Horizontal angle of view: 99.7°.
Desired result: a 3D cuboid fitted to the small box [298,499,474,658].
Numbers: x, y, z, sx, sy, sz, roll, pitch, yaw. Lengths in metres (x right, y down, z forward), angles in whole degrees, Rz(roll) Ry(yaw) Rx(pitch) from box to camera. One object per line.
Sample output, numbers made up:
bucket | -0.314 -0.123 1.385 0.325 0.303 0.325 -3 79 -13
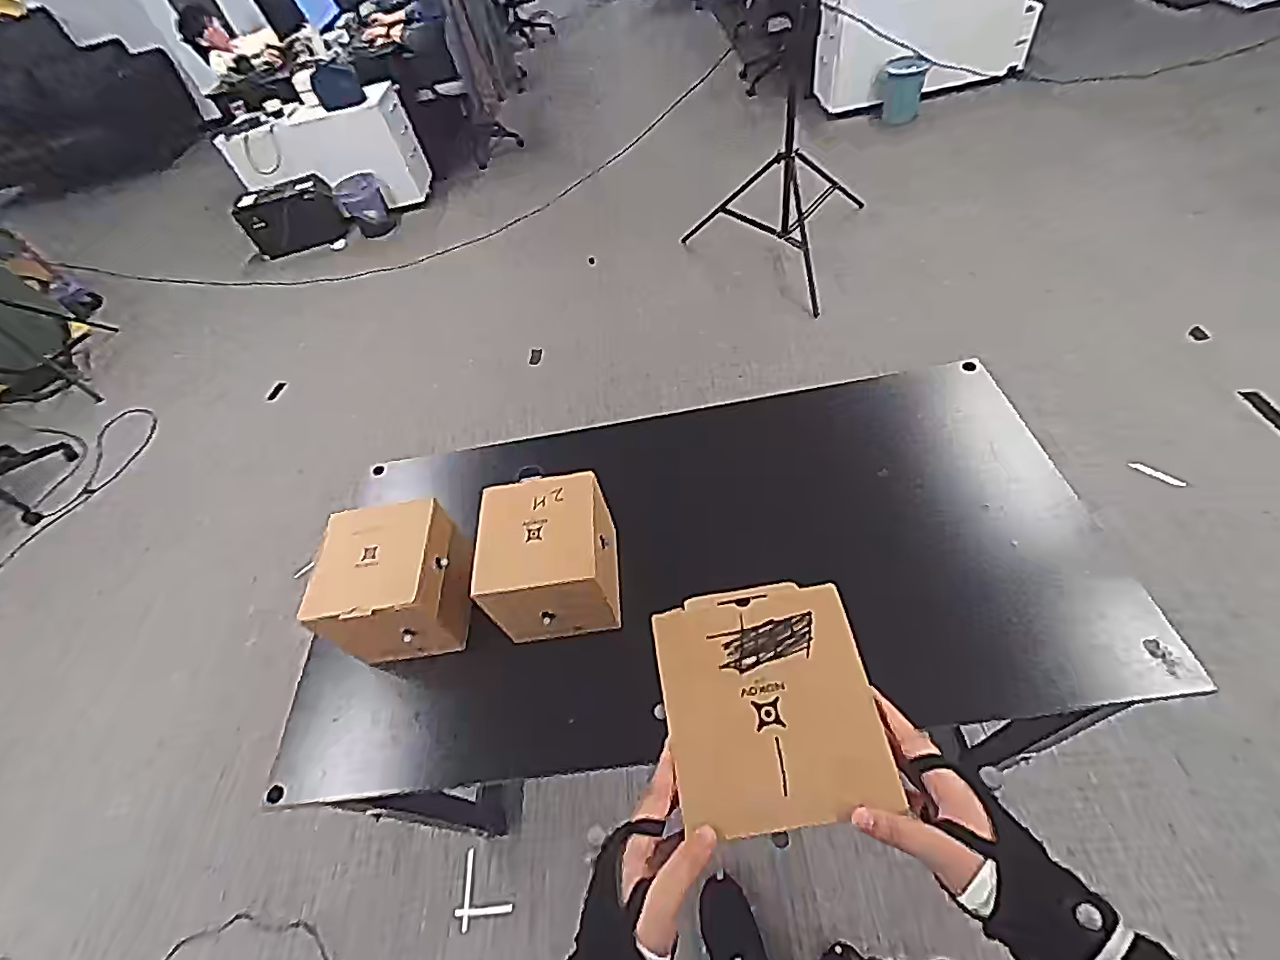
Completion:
small box | -0.365 0.157 0.818 0.168 0.176 0.179 -9 51 4

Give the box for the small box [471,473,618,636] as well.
small box | -0.130 0.117 0.795 0.168 0.176 0.179 -9 52 5

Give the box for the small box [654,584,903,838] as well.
small box | 0.111 0.218 0.504 0.168 0.176 0.179 -11 59 3
